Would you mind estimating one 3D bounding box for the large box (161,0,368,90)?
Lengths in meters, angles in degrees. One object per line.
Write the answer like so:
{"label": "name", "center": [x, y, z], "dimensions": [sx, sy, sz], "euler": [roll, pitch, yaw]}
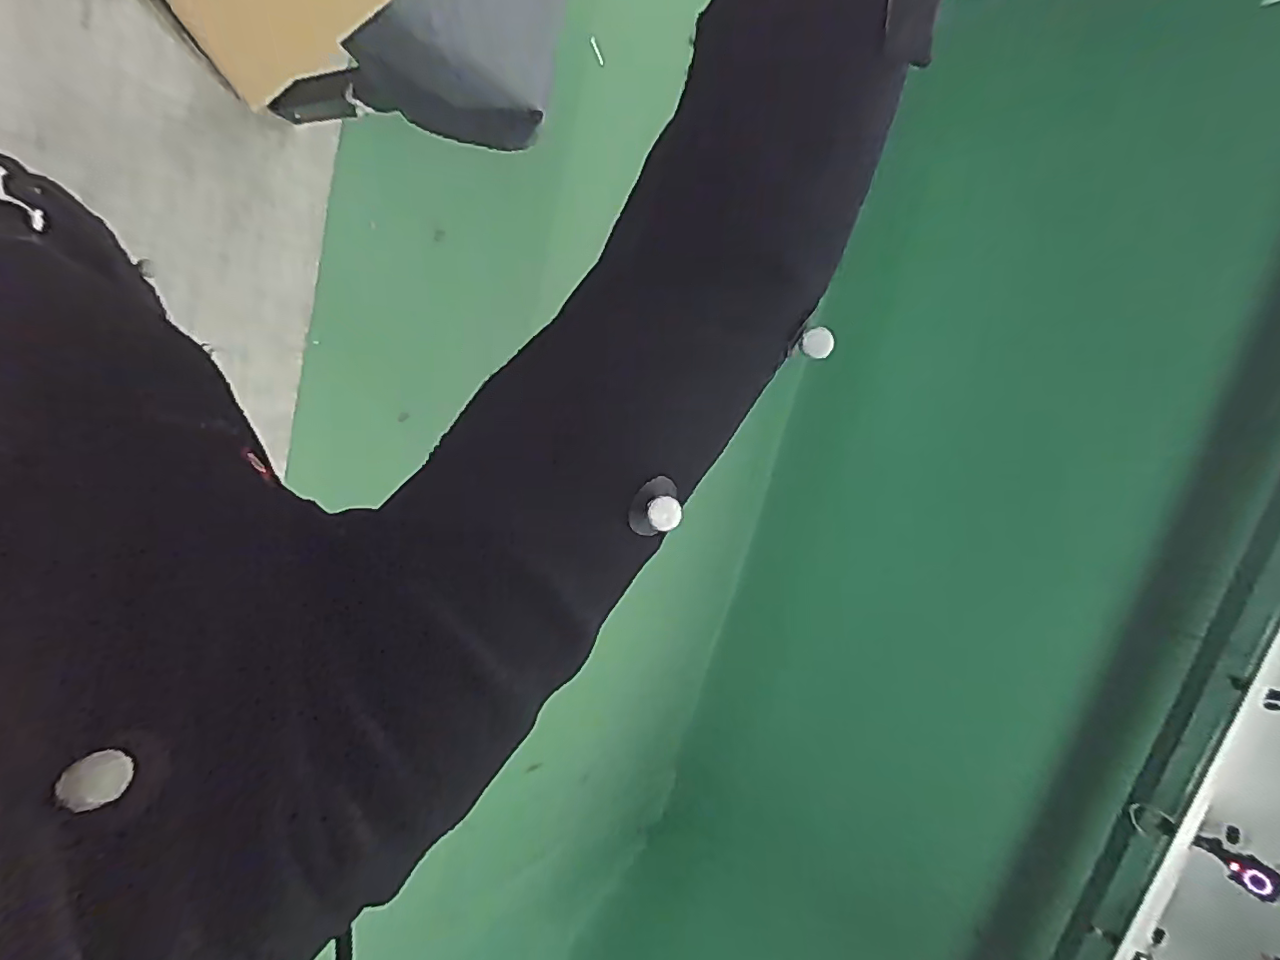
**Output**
{"label": "large box", "center": [-0.206, -0.430, 0.127], "dimensions": [0.320, 0.320, 0.408], "euler": [-48, 114, -5]}
